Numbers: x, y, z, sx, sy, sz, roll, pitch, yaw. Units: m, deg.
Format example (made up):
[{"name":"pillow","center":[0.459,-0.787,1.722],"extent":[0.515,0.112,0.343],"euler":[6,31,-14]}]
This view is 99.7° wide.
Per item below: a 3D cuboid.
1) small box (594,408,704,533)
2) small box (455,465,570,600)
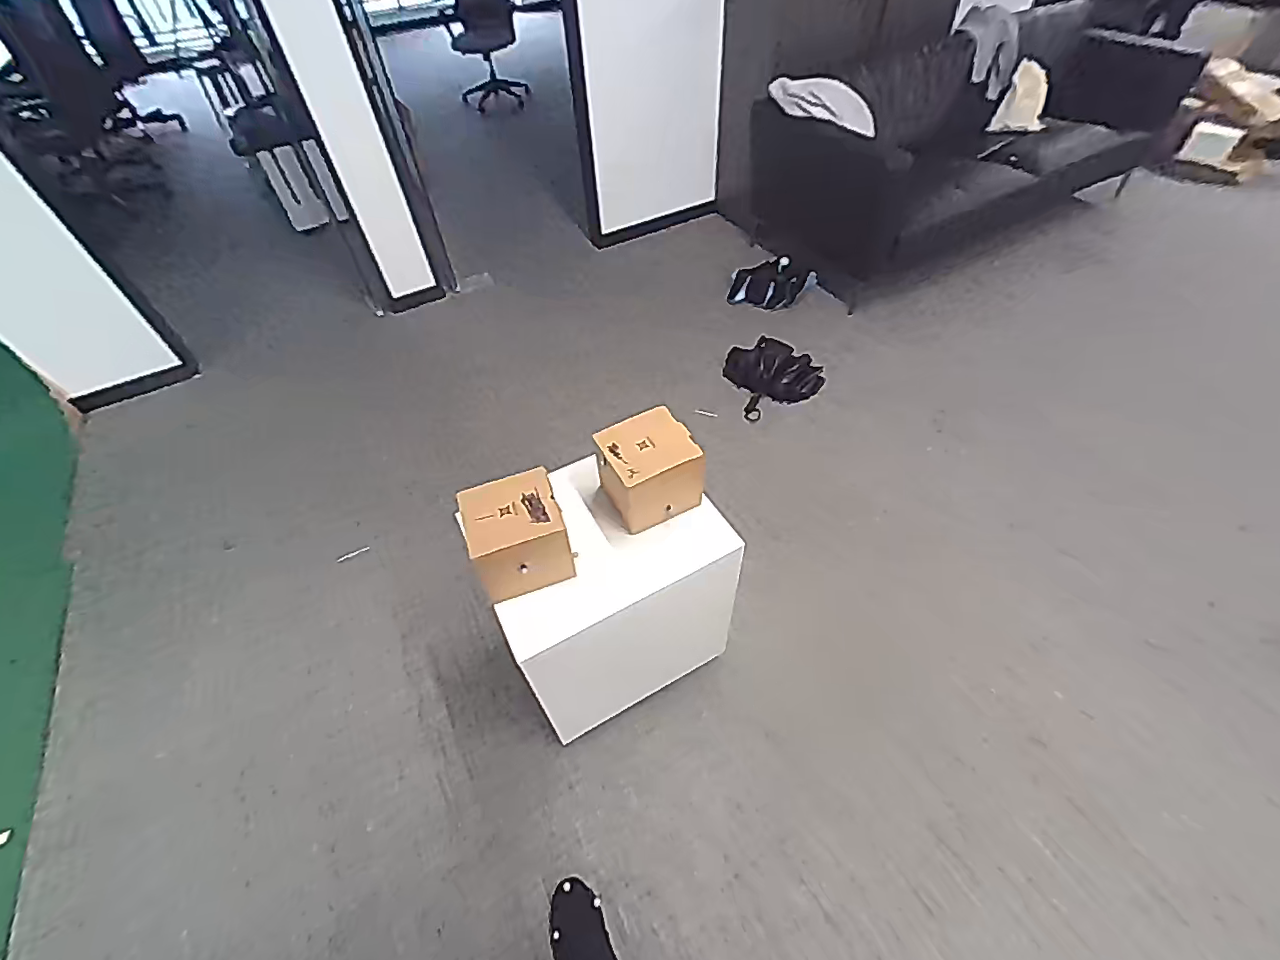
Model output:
[{"name":"small box","center":[0.015,-0.019,1.145],"extent":[0.179,0.176,0.168],"euler":[-22,53,-17]},{"name":"small box","center":[-0.240,0.103,1.045],"extent":[0.179,0.176,0.168],"euler":[-17,51,-13]}]
